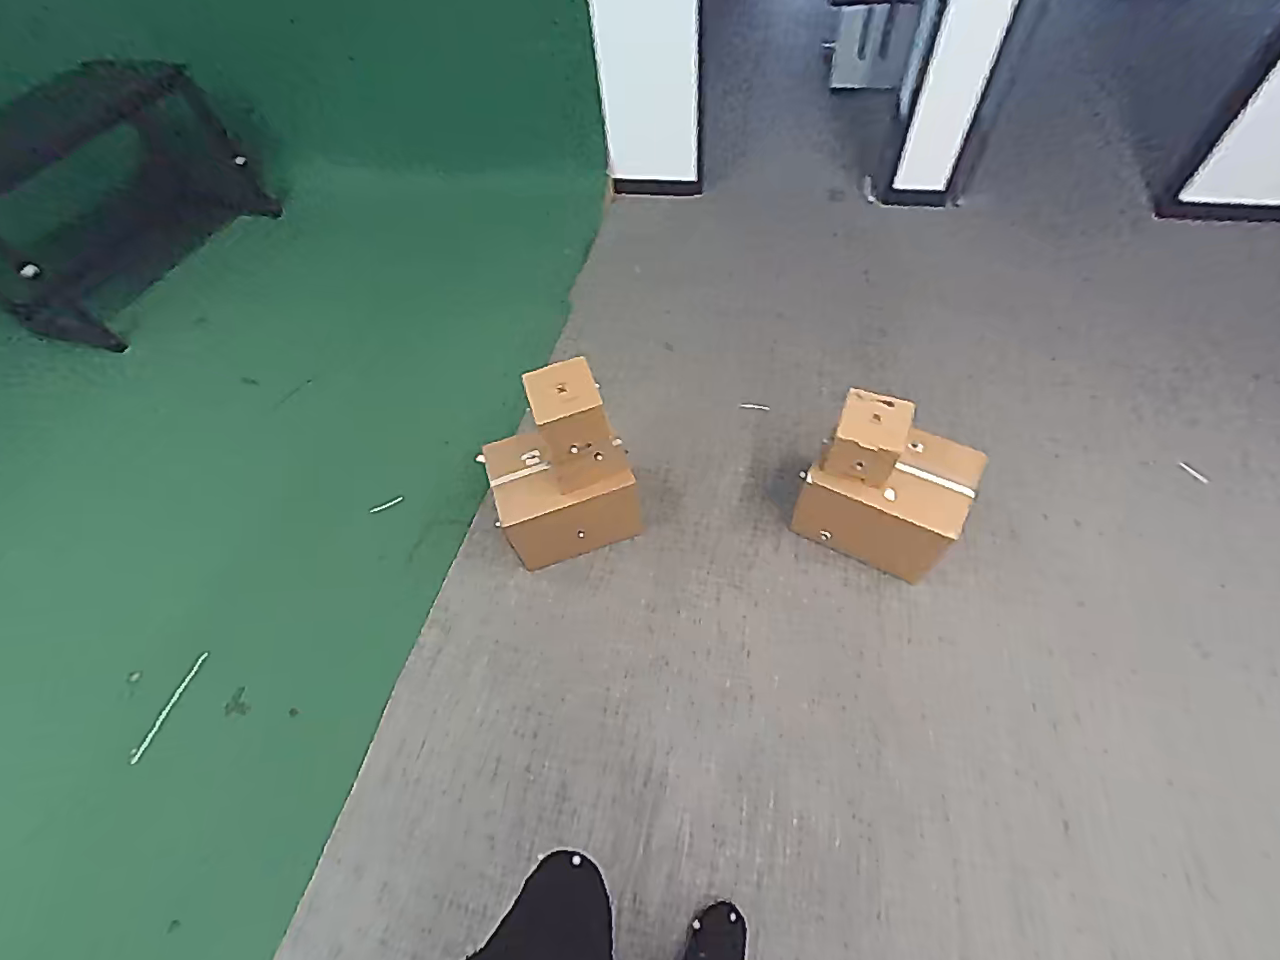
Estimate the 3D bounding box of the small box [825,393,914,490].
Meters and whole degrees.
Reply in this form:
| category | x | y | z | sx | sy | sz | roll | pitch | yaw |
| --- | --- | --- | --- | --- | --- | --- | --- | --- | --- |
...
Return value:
| category | x | y | z | sx | sy | sz | roll | pitch | yaw |
| --- | --- | --- | --- | --- | --- | --- | --- | --- | --- |
| small box | 0.607 | -0.098 | 1.447 | 0.168 | 0.176 | 0.179 | 19 | 61 | 16 |

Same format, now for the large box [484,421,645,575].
| category | x | y | z | sx | sy | sz | roll | pitch | yaw |
| --- | --- | --- | --- | --- | --- | --- | --- | --- | --- |
| large box | -0.231 | 0.050 | 1.726 | 0.408 | 0.320 | 0.320 | -19 | 55 | -6 |

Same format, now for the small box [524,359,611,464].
| category | x | y | z | sx | sy | sz | roll | pitch | yaw |
| --- | --- | --- | --- | --- | --- | --- | --- | --- | --- |
| small box | -0.181 | -0.171 | 1.375 | 0.168 | 0.176 | 0.179 | -18 | 57 | -6 |

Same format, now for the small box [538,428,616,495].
| category | x | y | z | sx | sy | sz | roll | pitch | yaw |
| --- | --- | --- | --- | --- | --- | --- | --- | --- | --- |
| small box | -0.173 | -0.086 | 1.514 | 0.179 | 0.176 | 0.168 | -19 | 57 | -7 |
